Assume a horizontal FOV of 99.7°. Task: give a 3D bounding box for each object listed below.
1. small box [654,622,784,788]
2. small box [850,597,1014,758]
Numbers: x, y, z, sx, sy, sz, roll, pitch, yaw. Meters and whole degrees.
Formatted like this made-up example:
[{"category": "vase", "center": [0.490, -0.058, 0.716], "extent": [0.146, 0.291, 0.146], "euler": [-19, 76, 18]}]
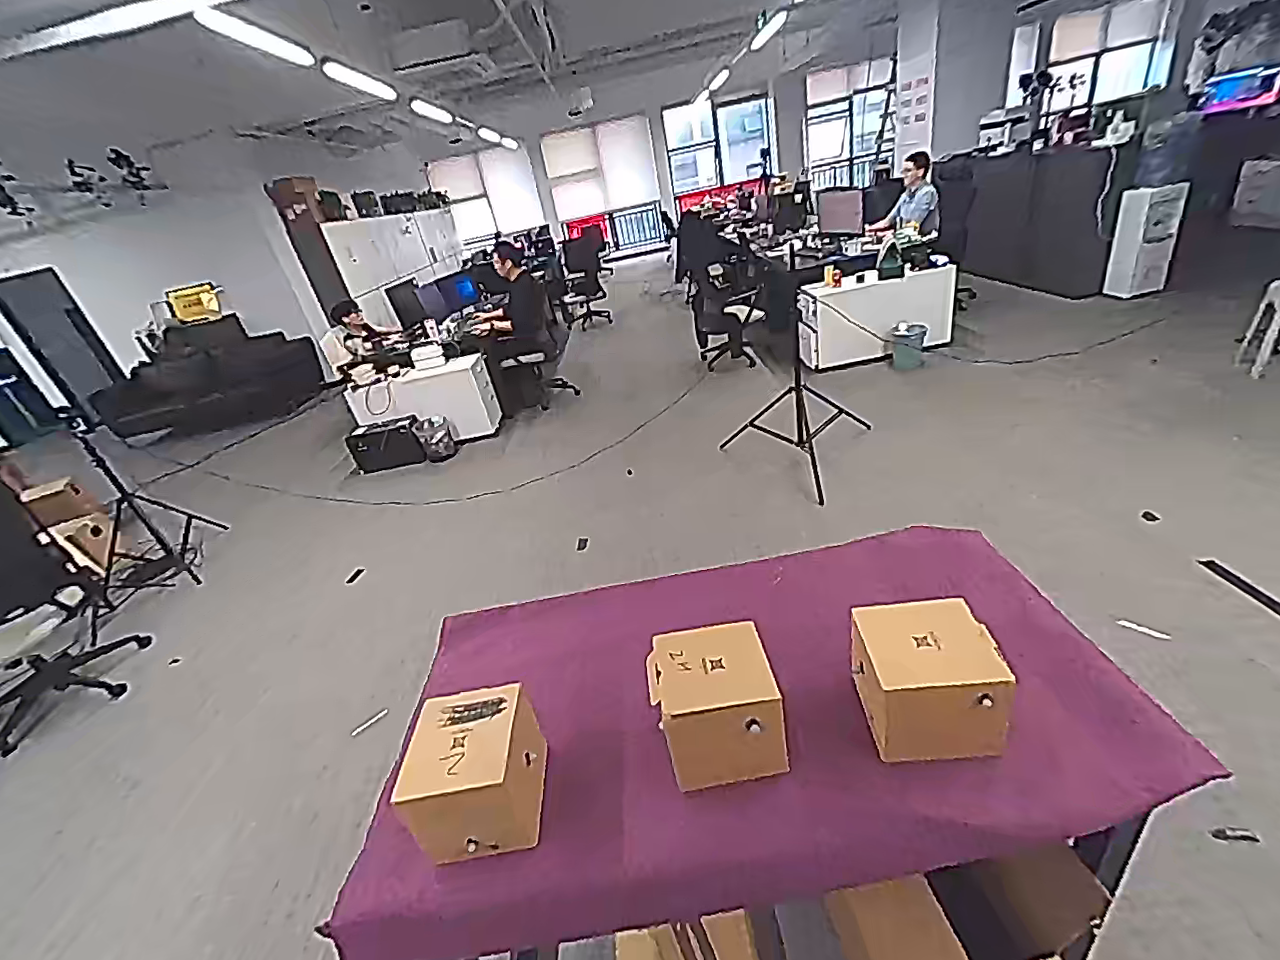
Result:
[{"category": "small box", "center": [0.127, 0.360, 0.872], "extent": [0.179, 0.176, 0.168], "euler": [-12, 26, 2]}, {"category": "small box", "center": [0.440, 0.308, 0.841], "extent": [0.179, 0.176, 0.168], "euler": [-8, 29, 8]}]
